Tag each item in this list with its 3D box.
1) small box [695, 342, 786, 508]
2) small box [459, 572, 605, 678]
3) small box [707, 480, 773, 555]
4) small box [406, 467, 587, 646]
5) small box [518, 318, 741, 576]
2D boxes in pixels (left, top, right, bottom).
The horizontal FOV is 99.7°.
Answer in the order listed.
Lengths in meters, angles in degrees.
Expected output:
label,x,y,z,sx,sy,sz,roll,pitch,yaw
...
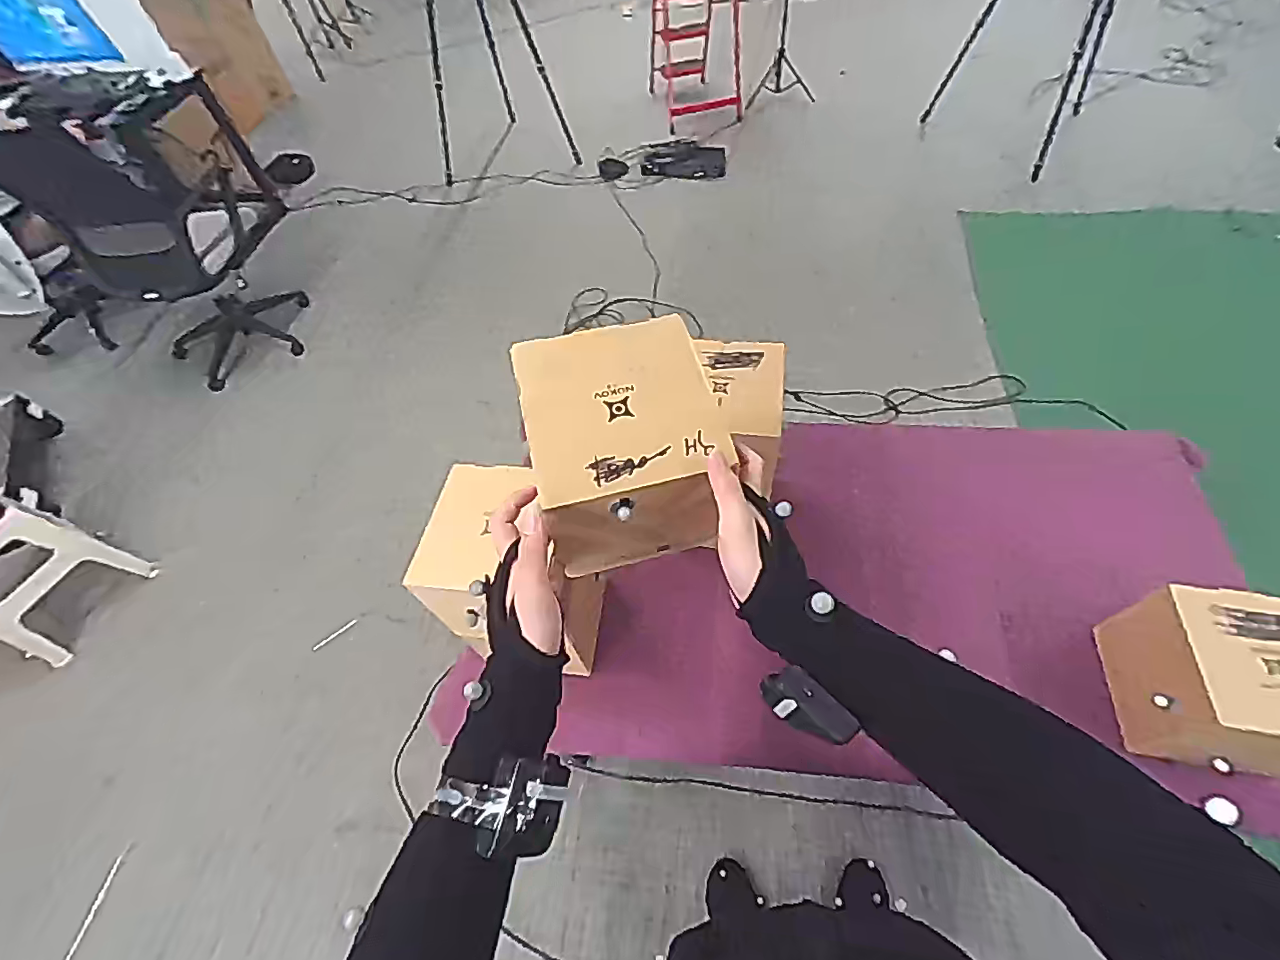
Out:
label,x,y,z,sx,sy,sz,roll,pitch,yaw
small box,0.119,-0.082,0.801,0.168,0.176,0.179,5,57,10
small box,-0.154,0.191,0.844,0.168,0.176,0.179,3,55,9
small box,0.141,0.007,0.938,0.168,0.176,0.179,7,57,11
small box,-0.165,0.103,0.708,0.168,0.176,0.179,3,54,10
small box,-0.015,-0.027,0.536,0.168,0.176,0.179,-13,61,-5
